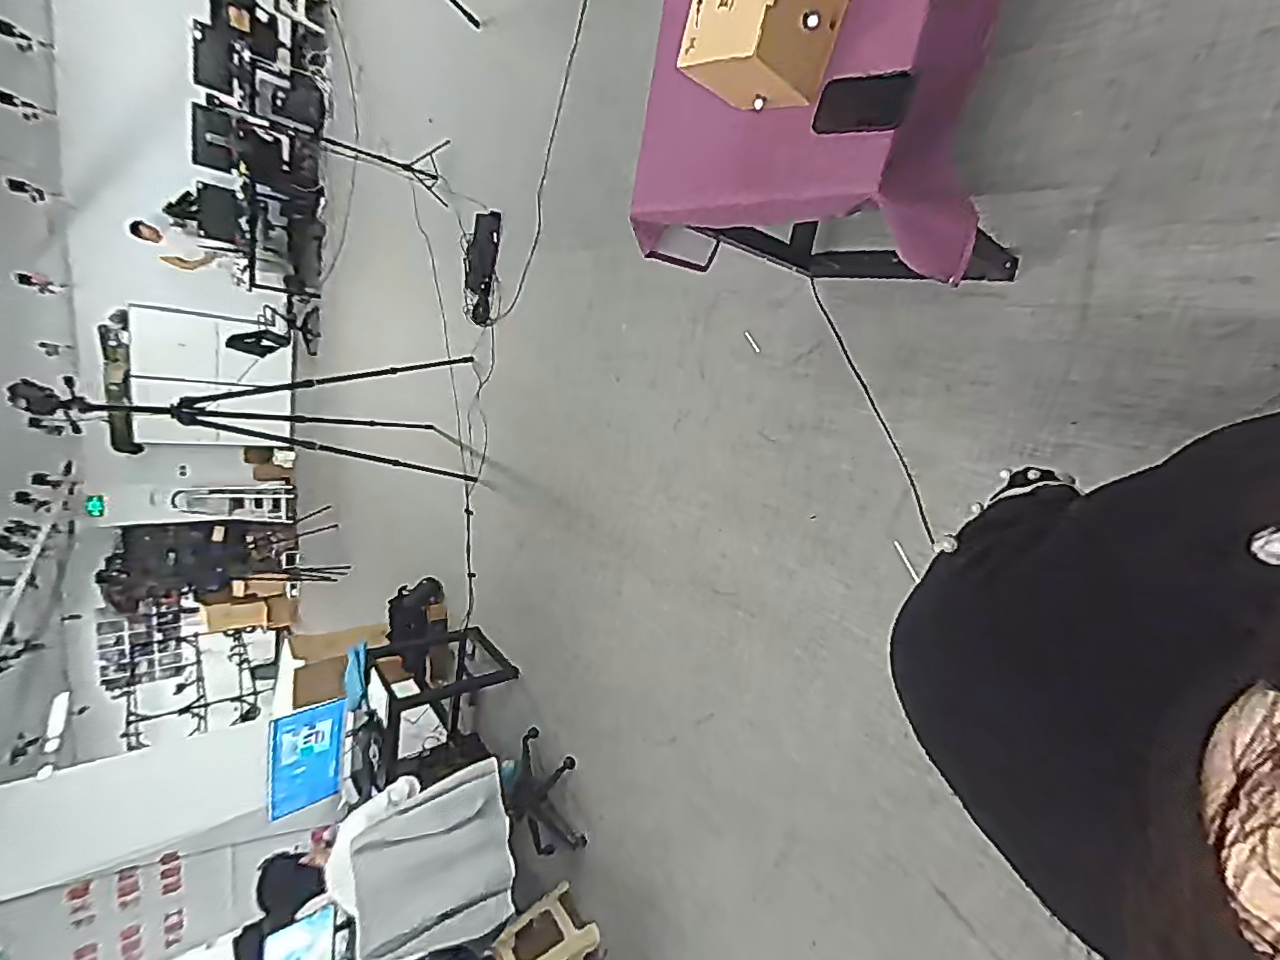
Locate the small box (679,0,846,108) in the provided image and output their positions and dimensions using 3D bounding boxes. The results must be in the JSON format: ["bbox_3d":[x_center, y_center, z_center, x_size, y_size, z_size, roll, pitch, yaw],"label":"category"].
[{"bbox_3d":[0.198,-0.729,0.874,0.179,0.176,0.168,35,116,42],"label":"small box"}]
